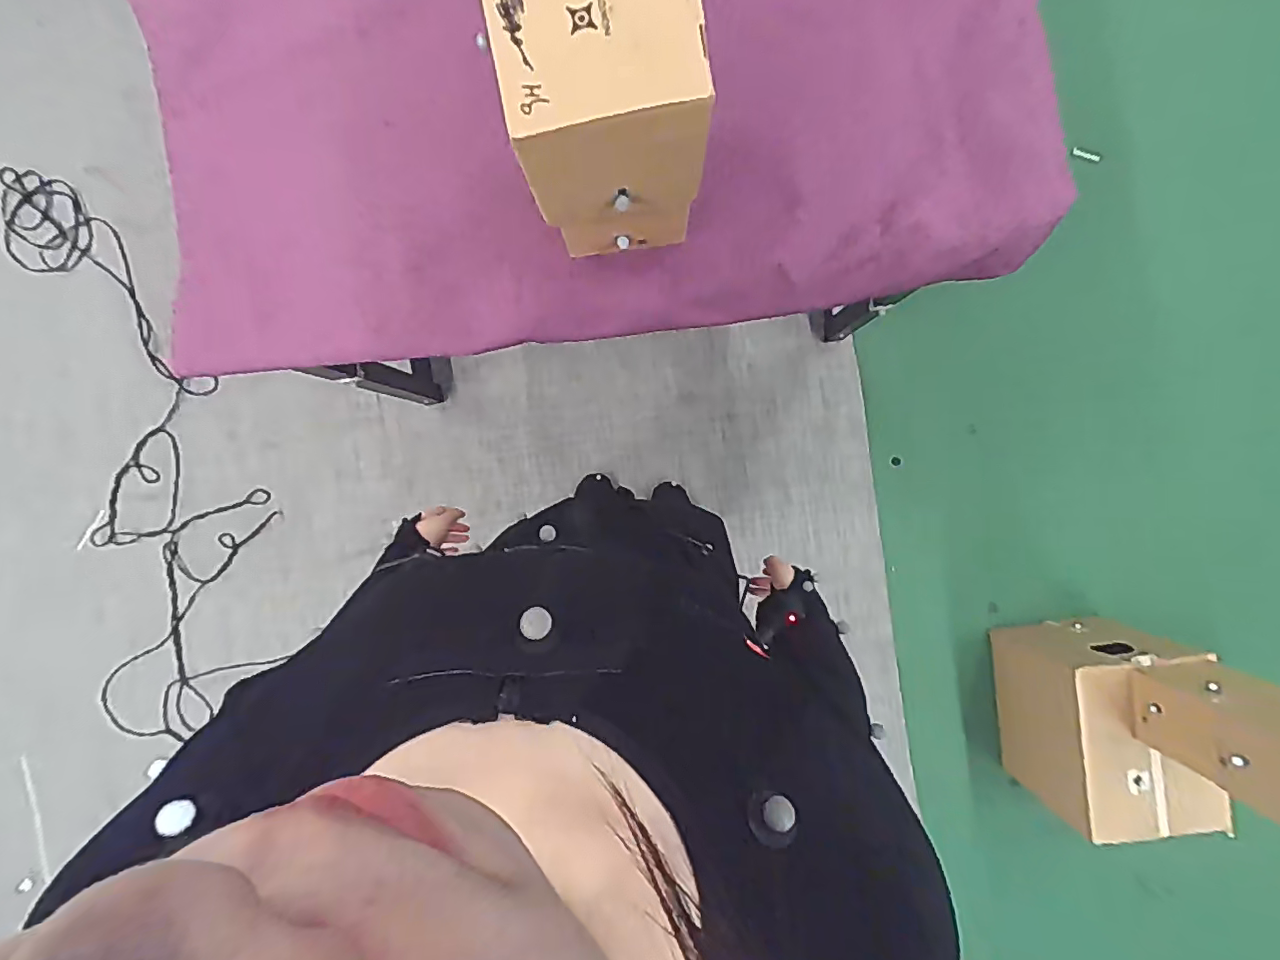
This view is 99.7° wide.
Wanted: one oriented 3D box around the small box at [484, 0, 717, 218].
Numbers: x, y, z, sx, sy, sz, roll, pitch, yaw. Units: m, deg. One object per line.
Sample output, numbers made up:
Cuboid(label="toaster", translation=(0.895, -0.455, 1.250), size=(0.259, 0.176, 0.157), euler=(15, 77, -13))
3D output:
Cuboid(label="small box", translation=(-0.036, -0.377, 0.514), size=(0.179, 0.176, 0.168), euler=(-10, 92, 1))

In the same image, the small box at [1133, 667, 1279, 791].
Cuboid(label="small box", translation=(1.164, 0.494, 1.097), size=(0.179, 0.176, 0.168), euler=(-6, 92, 1))

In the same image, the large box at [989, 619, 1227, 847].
Cuboid(label="large box", translation=(1.129, 0.599, 1.343), size=(0.320, 0.320, 0.408), euler=(-7, 92, 2))

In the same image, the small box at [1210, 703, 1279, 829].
Cuboid(label="small box", translation=(1.160, 0.502, 0.933), size=(0.179, 0.176, 0.168), euler=(-7, 92, 1))

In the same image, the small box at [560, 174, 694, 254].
Cuboid(label="small box", translation=(-0.029, -0.410, 0.677), size=(0.168, 0.176, 0.179), euler=(-7, 92, 1))
